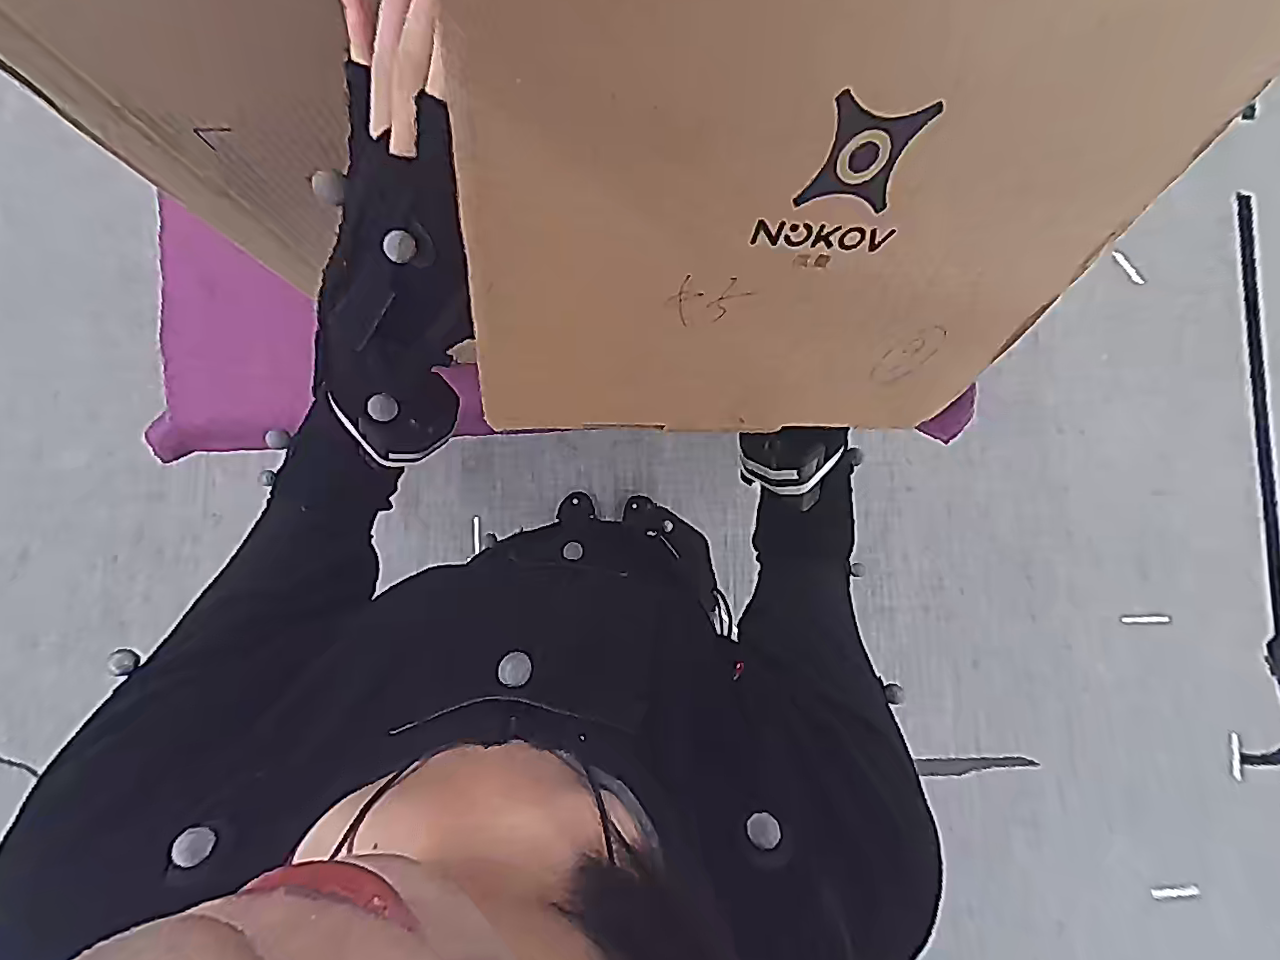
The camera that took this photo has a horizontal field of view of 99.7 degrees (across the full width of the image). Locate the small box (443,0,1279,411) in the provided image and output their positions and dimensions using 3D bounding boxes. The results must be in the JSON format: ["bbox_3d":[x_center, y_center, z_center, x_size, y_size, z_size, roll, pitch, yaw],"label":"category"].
[{"bbox_3d":[0.036,-0.138,0.154,0.168,0.179,0.176,-2,59,-13],"label":"small box"}]
